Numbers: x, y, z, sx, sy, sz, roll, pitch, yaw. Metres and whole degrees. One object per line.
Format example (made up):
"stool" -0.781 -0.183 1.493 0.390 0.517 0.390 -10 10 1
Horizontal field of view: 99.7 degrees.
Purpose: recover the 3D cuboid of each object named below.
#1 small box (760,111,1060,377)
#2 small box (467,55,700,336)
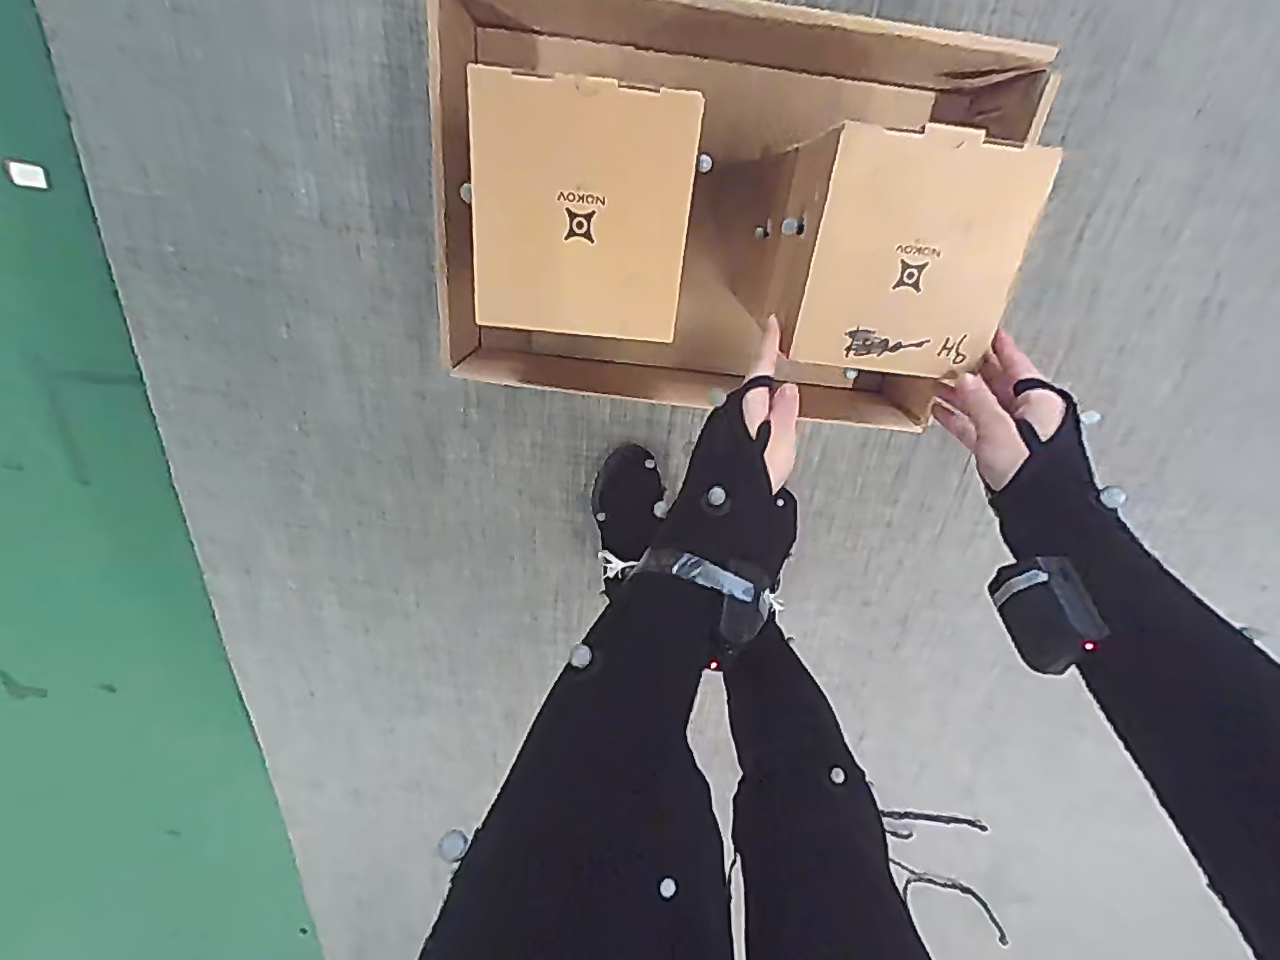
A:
"small box" 0.217 -0.209 0.496 0.168 0.176 0.179 7 115 -1
"small box" -0.046 -0.240 0.481 0.168 0.176 0.179 5 115 -3
